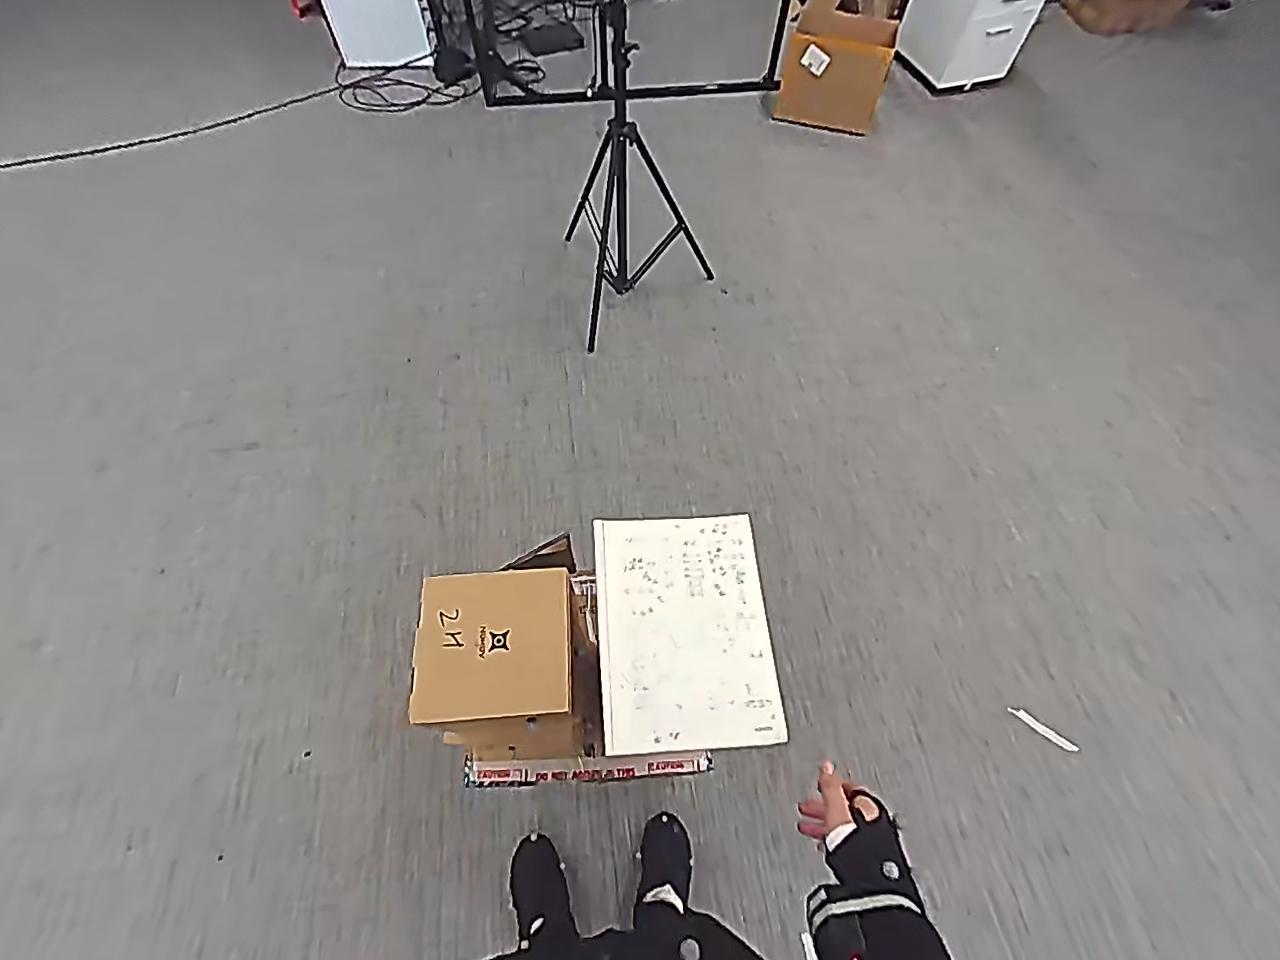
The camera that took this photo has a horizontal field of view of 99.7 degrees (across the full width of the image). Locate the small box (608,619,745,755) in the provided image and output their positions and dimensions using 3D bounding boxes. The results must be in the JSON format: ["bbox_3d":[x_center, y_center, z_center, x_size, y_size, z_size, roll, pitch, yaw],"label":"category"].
[{"bbox_3d":[0.045,0.326,0.843,0.179,0.176,0.168,-7,62,-6],"label":"small box"}]

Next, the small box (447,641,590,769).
[{"bbox_3d":[-0.170,0.346,0.827,0.179,0.176,0.168,0,63,0],"label":"small box"}]
